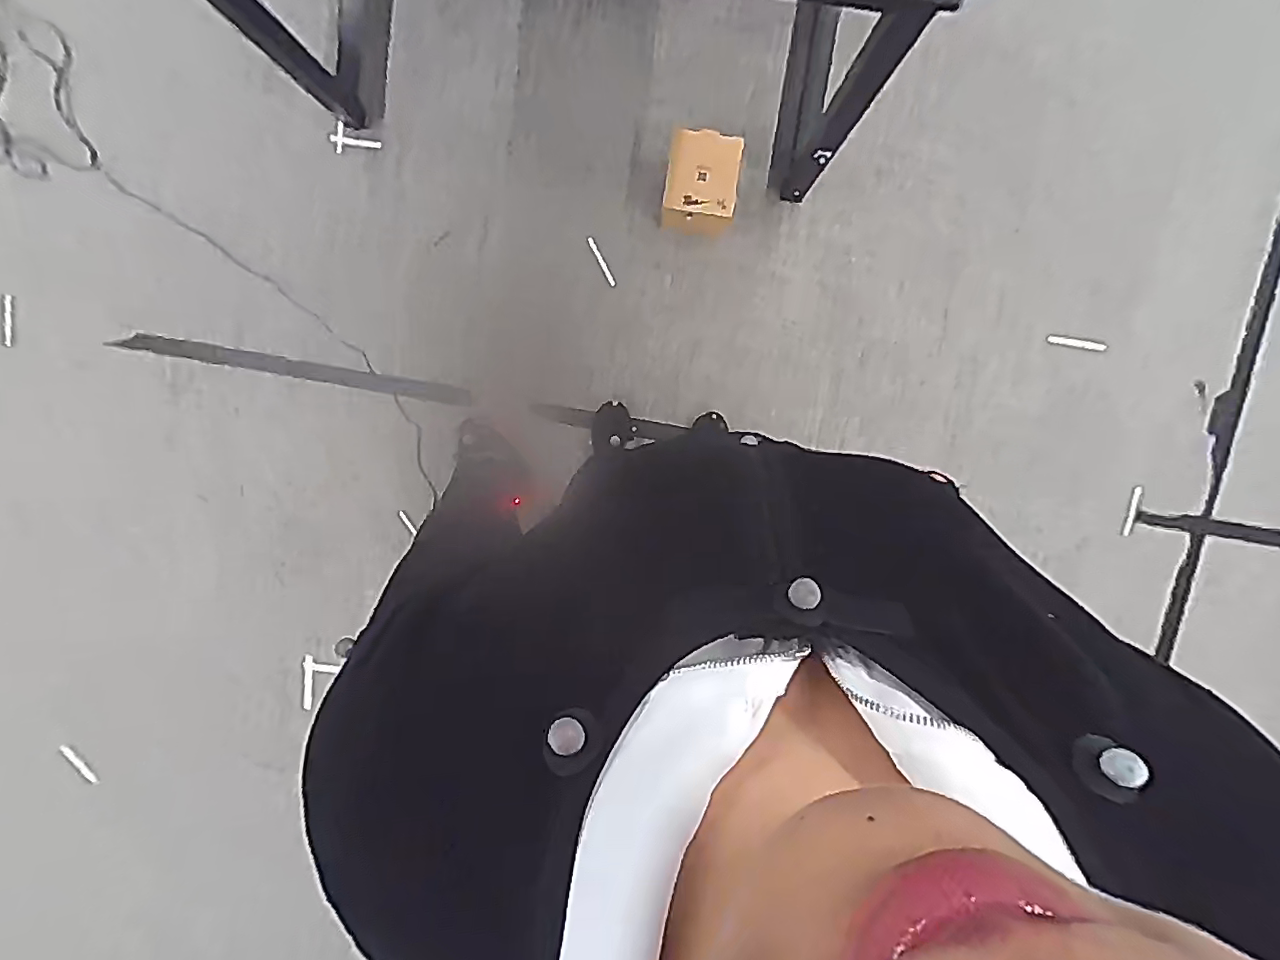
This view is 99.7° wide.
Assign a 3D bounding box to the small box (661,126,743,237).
[{"bbox_3d":[0.144,-0.716,1.314,0.168,0.176,0.179,8,98,1],"label":"small box"}]
